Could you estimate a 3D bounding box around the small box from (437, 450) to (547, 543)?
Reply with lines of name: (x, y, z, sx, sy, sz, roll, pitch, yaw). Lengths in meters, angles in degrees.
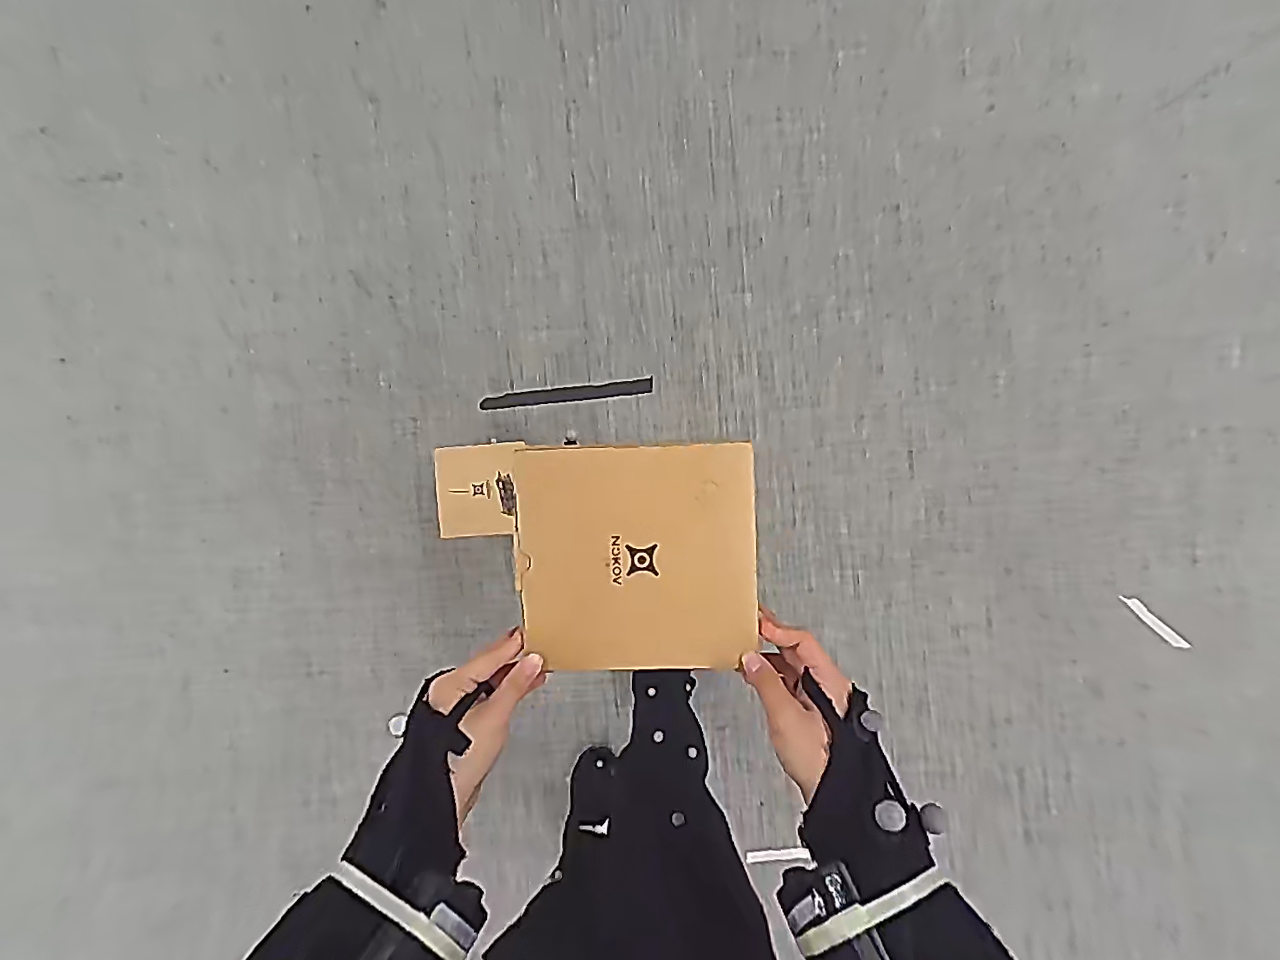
small box: (-0.274, 0.027, 1.060, 0.179, 0.176, 0.168, -4, 91, 5)

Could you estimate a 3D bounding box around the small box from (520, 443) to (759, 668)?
small box: (0.004, 0.053, 0.482, 0.179, 0.176, 0.168, -2, 94, 4)
